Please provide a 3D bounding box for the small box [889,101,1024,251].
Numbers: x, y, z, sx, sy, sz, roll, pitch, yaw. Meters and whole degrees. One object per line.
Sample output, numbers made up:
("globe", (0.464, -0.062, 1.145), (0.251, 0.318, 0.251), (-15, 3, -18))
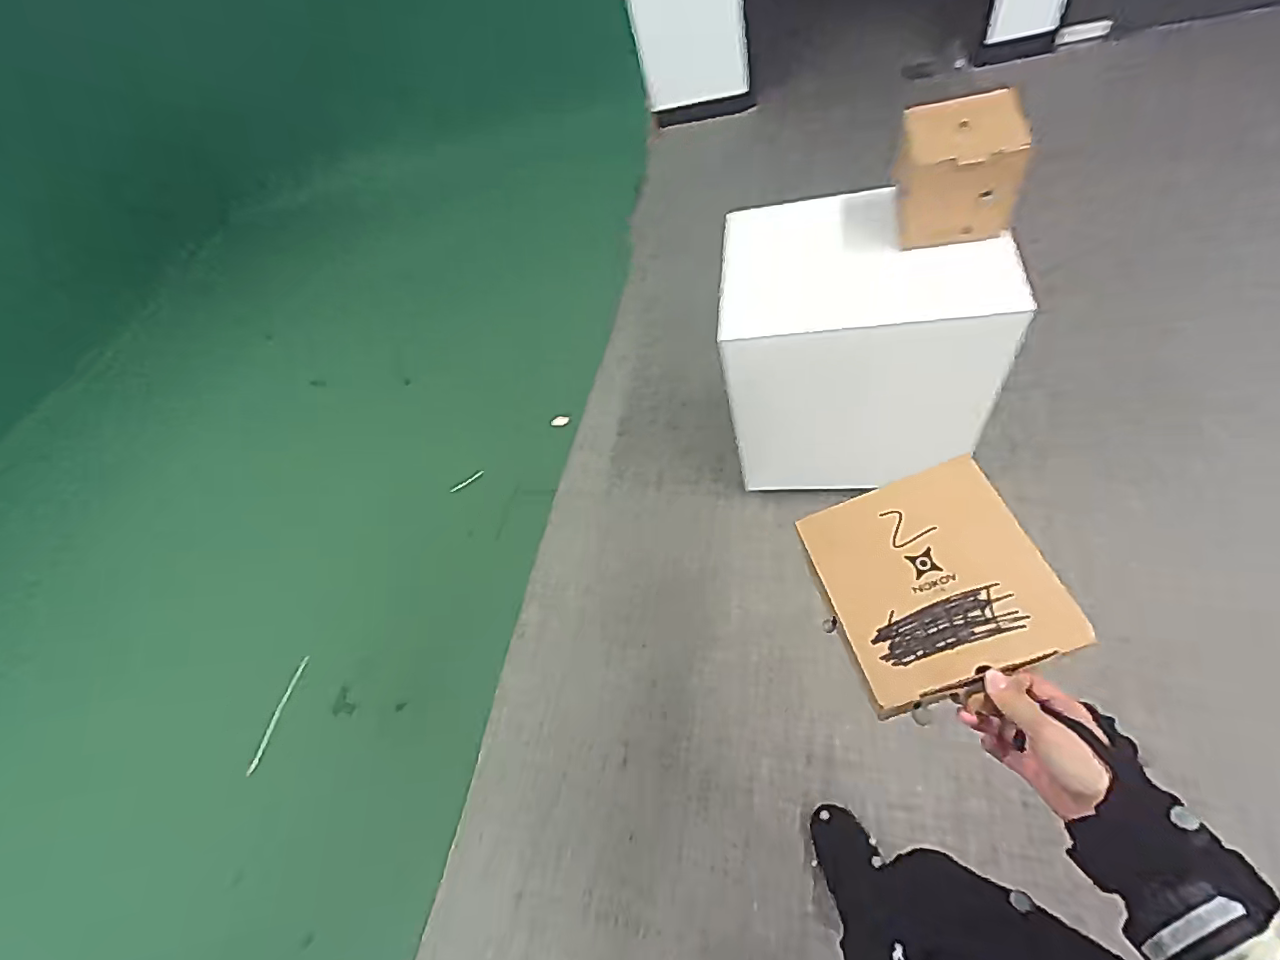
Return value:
("small box", (0.553, -0.532, 0.970), (0.168, 0.176, 0.179), (-1, 57, 16))
